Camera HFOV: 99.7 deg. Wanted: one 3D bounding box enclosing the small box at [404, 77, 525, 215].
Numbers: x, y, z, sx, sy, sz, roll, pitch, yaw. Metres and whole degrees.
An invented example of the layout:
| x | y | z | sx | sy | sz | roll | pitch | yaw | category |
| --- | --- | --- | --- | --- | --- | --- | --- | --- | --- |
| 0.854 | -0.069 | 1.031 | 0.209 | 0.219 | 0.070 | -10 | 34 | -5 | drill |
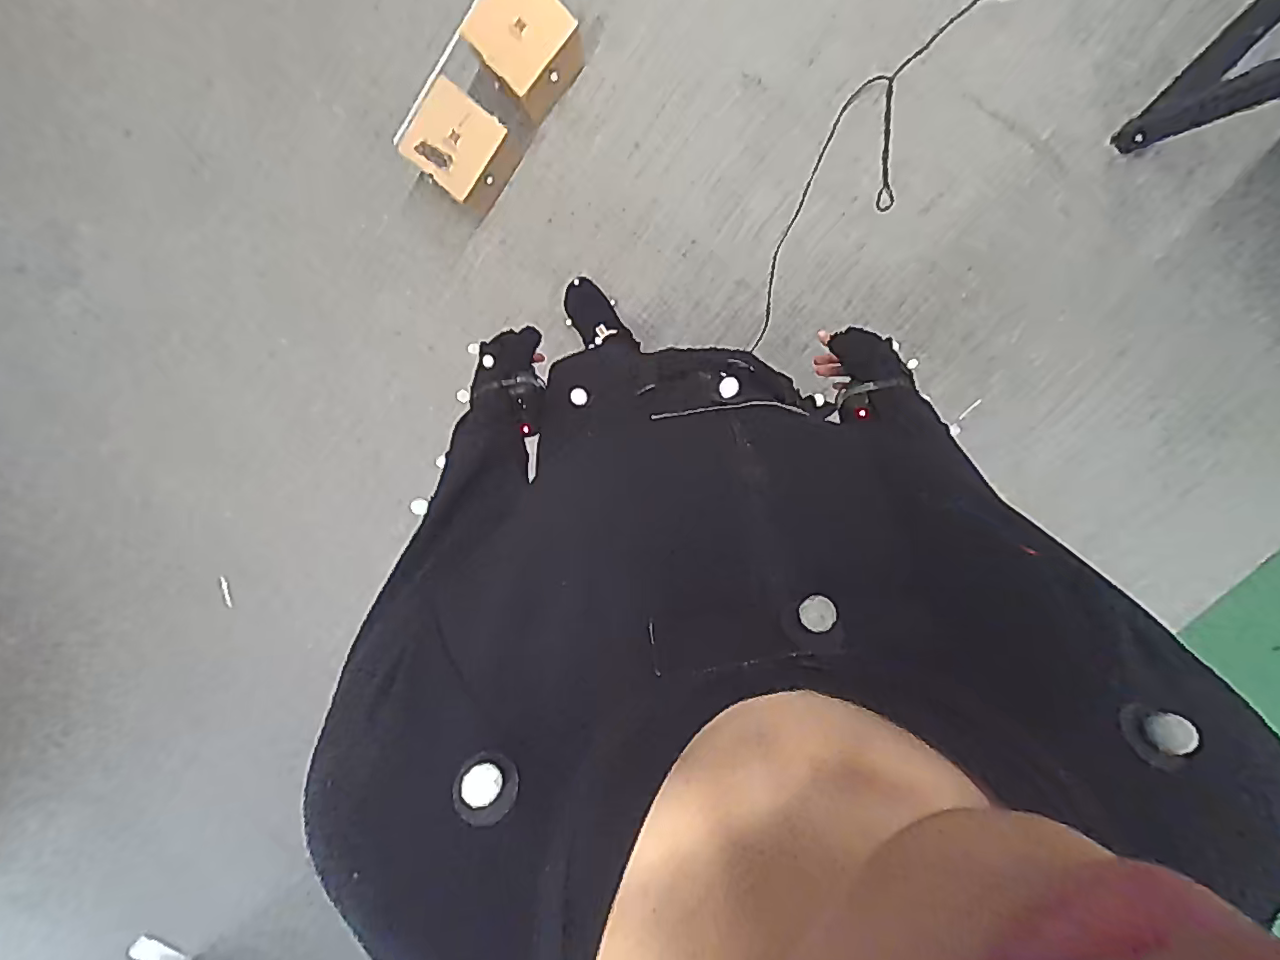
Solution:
| x | y | z | sx | sy | sz | roll | pitch | yaw | category |
| --- | --- | --- | --- | --- | --- | --- | --- | --- | --- |
| -0.376 | -0.720 | 1.194 | 0.168 | 0.176 | 0.179 | 38 | 102 | -10 | small box |

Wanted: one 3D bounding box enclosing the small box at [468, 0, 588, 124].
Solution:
| x | y | z | sx | sy | sz | roll | pitch | yaw | category |
| --- | --- | --- | --- | --- | --- | --- | --- | --- | --- |
| -0.225 | -0.905 | 1.139 | 0.168 | 0.176 | 0.179 | 43 | 103 | -11 | small box |
